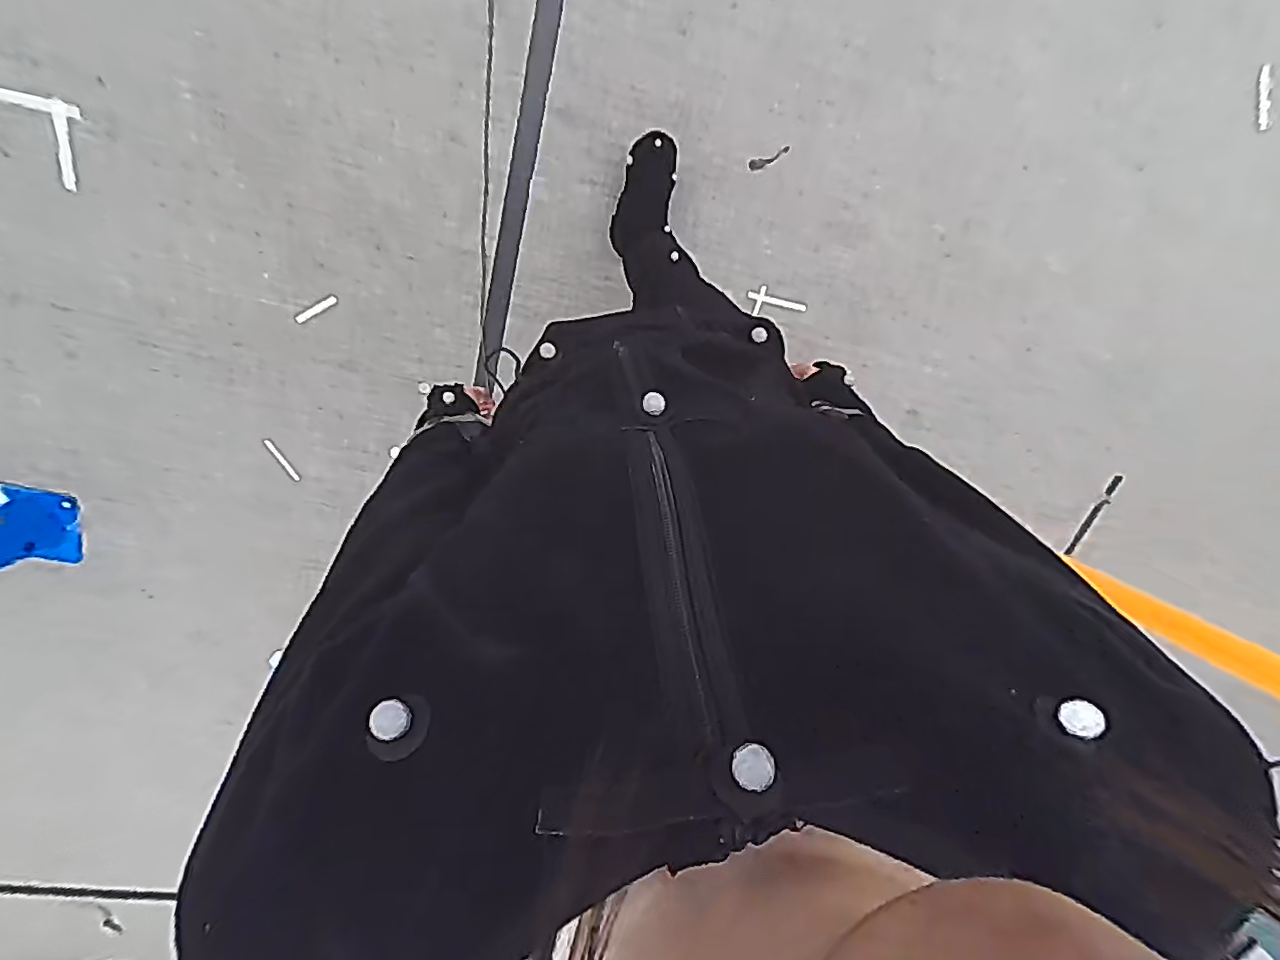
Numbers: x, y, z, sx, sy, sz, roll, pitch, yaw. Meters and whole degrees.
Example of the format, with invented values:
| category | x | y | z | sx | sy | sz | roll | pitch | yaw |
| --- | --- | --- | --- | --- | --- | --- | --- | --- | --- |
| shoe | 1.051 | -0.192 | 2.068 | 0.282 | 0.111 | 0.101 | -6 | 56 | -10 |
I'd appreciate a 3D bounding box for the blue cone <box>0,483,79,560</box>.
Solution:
| category | x | y | z | sx | sy | sz | roll | pitch | yaw |
| --- | --- | --- | --- | --- | --- | --- | --- | --- | --- |
| blue cone | -1.488 | 0.171 | 1.192 | 0.193 | 0.380 | 0.192 | 15 | 110 | -13 |
